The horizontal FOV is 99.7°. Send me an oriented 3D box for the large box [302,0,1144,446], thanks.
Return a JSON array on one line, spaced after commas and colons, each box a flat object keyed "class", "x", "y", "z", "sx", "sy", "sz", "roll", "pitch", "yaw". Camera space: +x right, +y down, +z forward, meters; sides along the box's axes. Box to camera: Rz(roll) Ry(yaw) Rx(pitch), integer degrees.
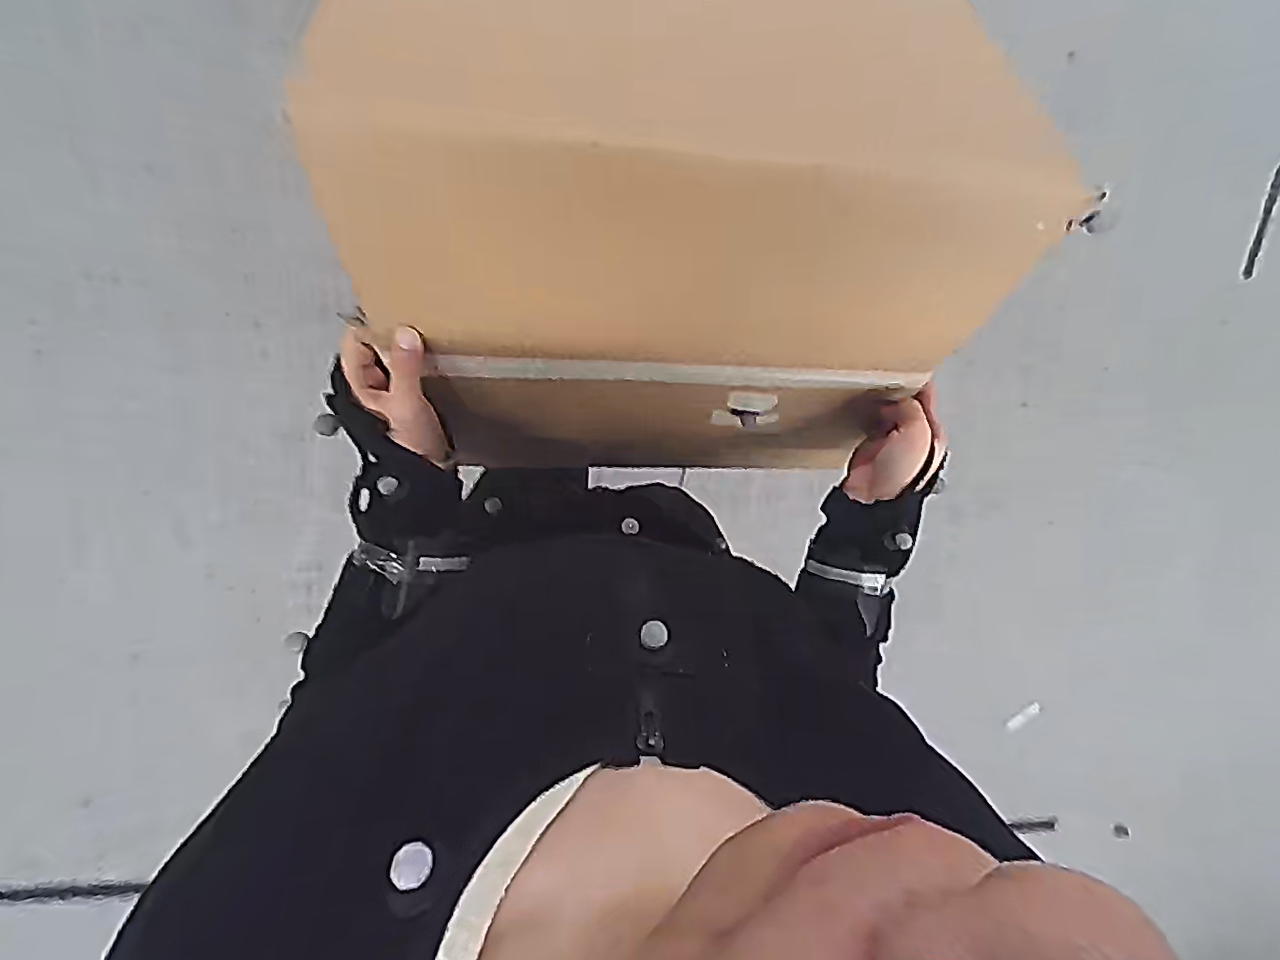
[{"class": "large box", "x": 0.027, "y": -0.235, "z": 0.440, "sx": 0.408, "sy": 0.320, "sz": 0.320, "roll": 0, "pitch": 64, "yaw": -10}]
